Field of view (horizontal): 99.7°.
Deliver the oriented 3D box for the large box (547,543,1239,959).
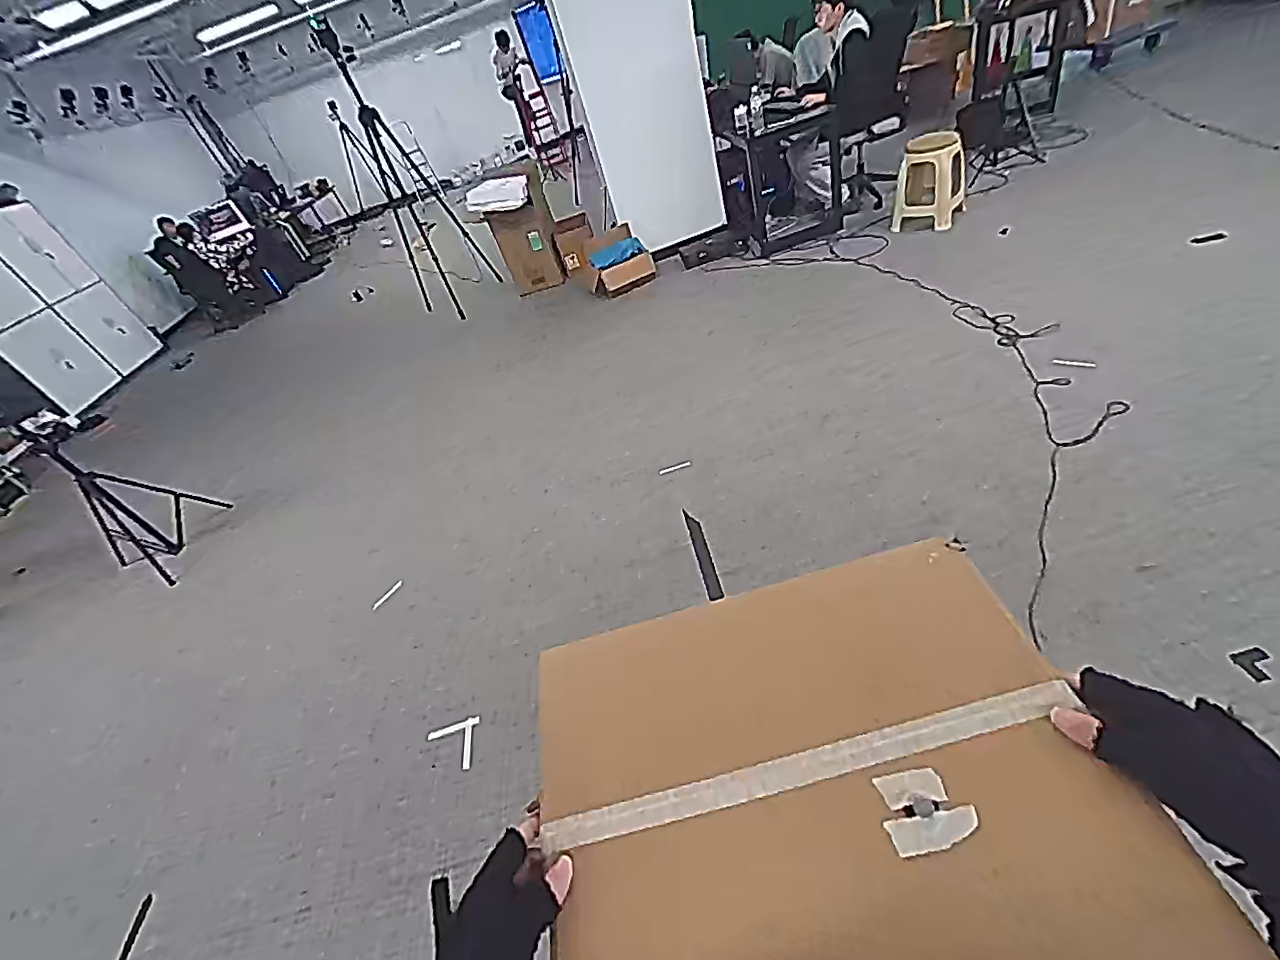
[{"bbox_3d":[0.159,0.322,0.519,0.408,0.320,0.320,-17,45,2],"label":"large box"}]
